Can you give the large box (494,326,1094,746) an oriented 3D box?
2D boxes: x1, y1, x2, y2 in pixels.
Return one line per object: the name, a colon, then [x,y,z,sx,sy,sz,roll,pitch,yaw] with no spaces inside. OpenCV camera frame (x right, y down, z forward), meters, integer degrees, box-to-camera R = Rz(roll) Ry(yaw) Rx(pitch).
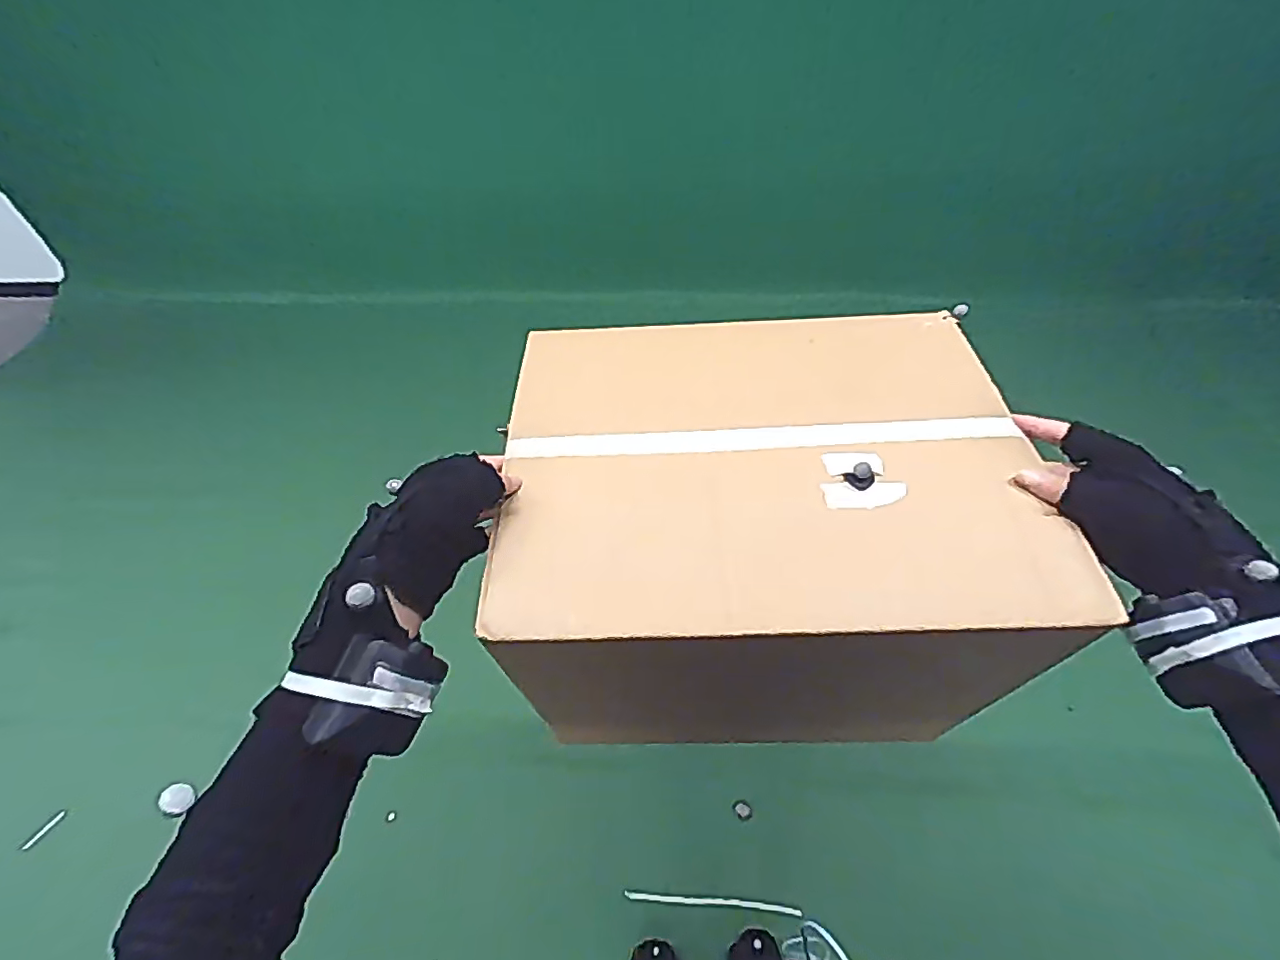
large box: [0.103,0.070,0.562,0.408,0.320,0.320,-3,53,3]
